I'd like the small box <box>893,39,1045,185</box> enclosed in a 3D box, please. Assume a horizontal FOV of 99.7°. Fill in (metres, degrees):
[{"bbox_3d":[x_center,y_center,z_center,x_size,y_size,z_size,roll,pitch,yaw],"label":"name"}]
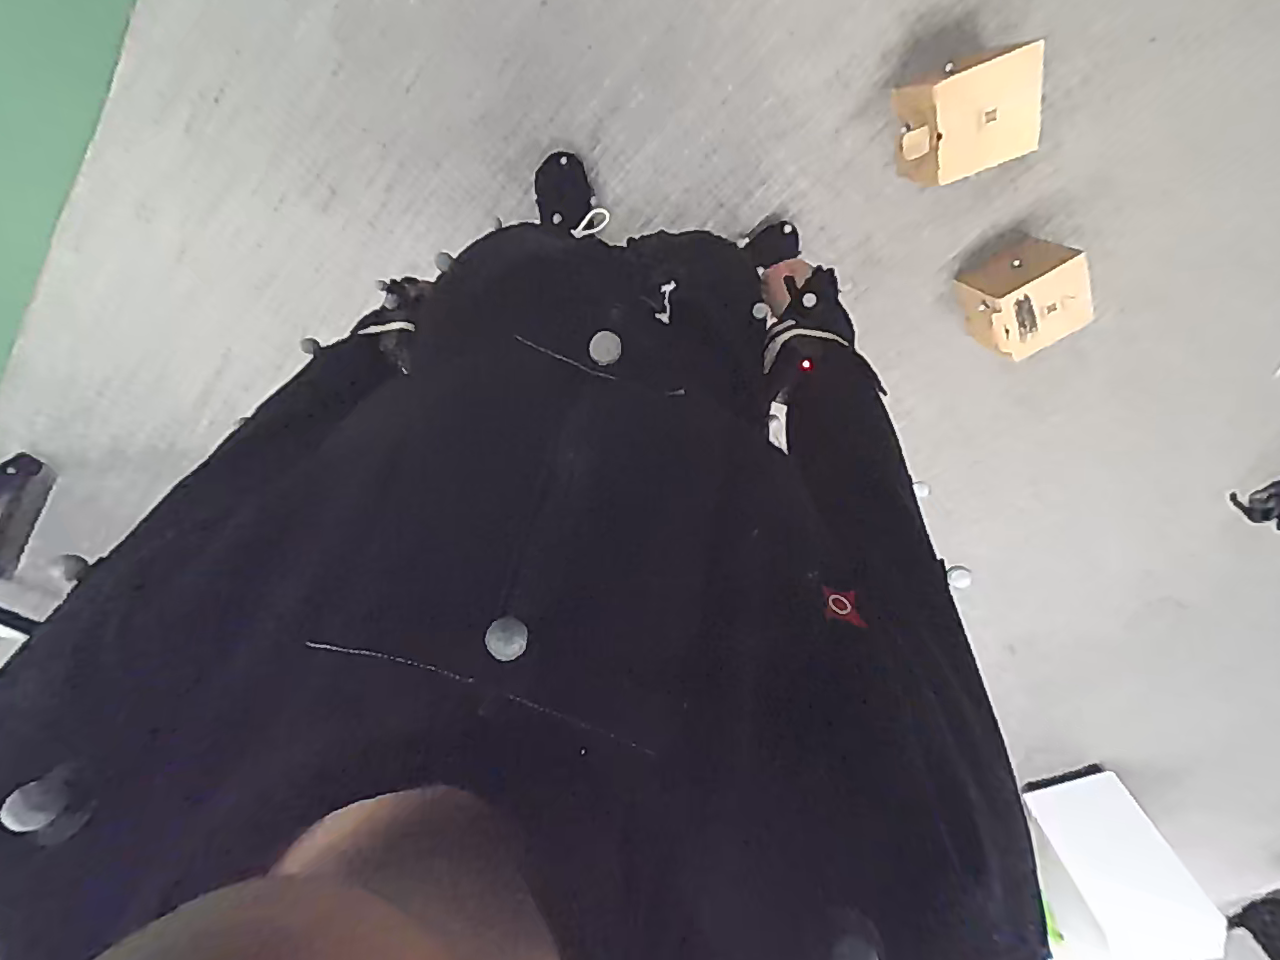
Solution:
[{"bbox_3d":[0.588,-0.666,0.984,0.179,0.176,0.168,-18,124,10],"label":"small box"}]
